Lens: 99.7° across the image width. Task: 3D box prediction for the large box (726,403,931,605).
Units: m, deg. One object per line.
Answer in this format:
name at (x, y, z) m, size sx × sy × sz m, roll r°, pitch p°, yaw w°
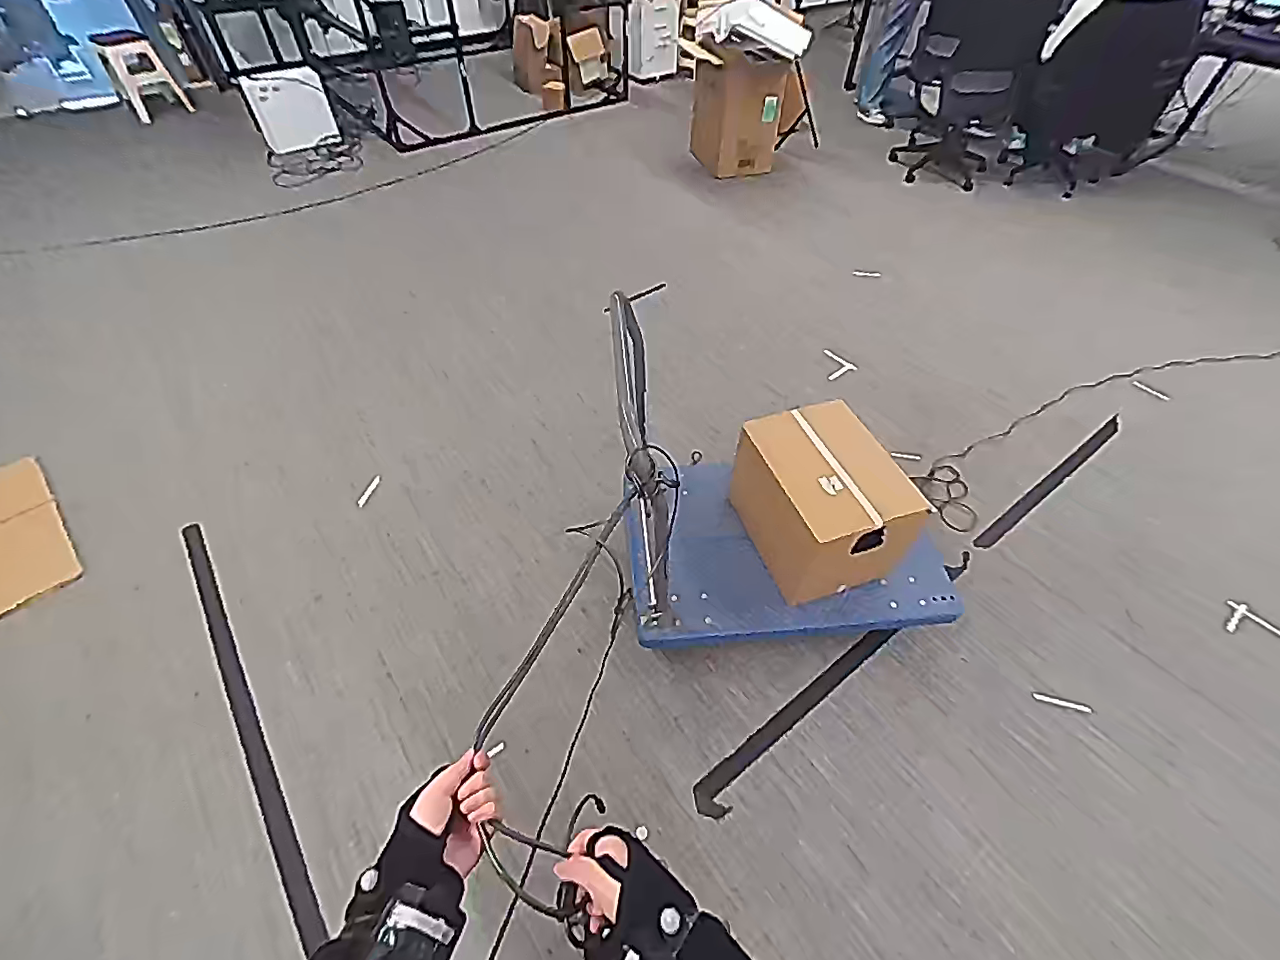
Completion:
large box at (0.471, 0.059, 1.463) m, size 0.320 × 0.320 × 0.408 m, roll -15°, pitch 53°, yaw -12°
